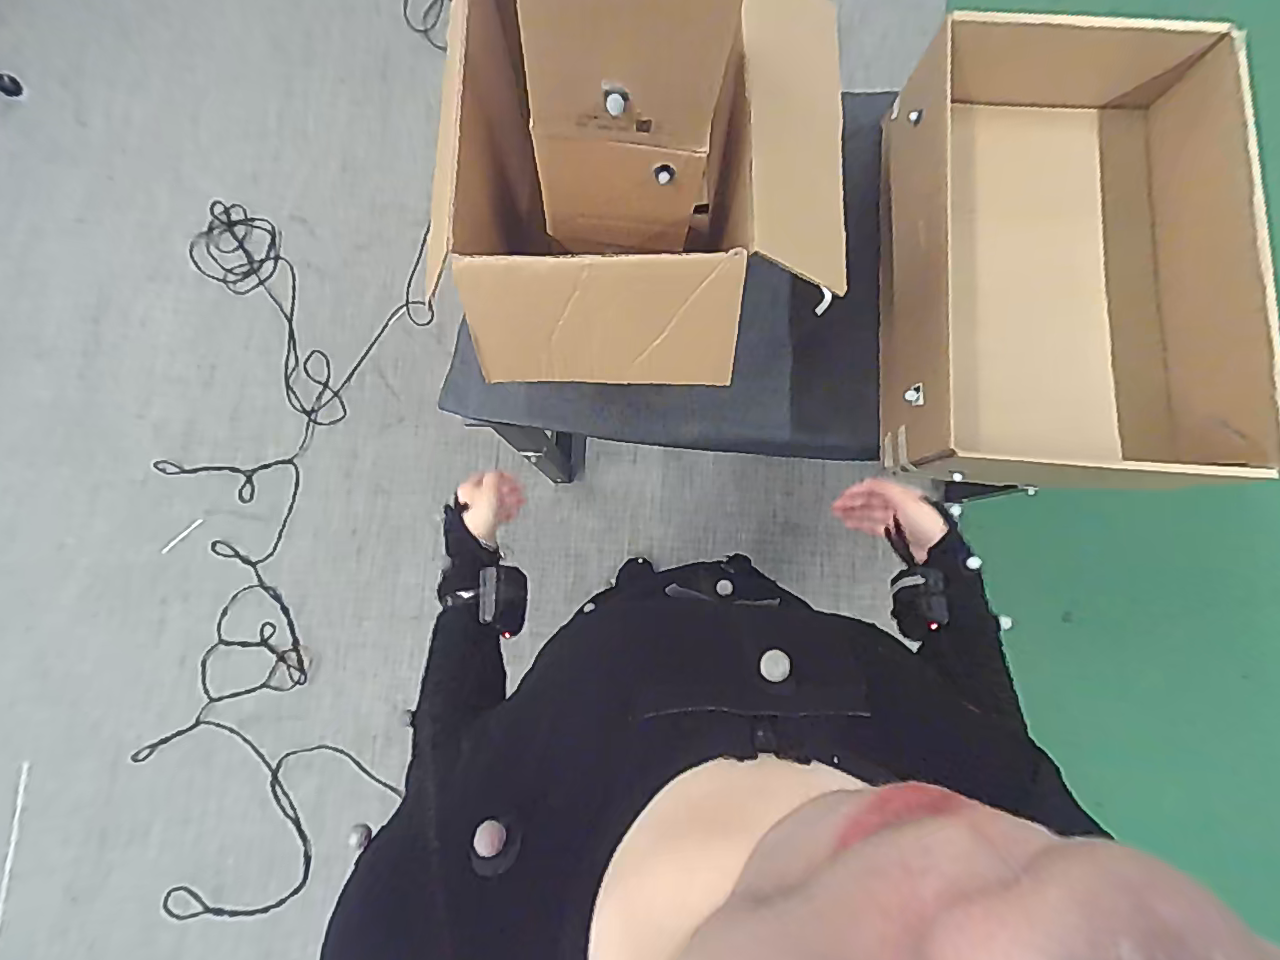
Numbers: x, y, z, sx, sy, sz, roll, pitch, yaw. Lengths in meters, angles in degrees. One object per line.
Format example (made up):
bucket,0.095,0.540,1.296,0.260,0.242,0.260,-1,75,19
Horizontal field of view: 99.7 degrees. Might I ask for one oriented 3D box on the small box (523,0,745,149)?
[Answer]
small box,-0.009,-0.422,0.451,0.168,0.176,0.179,2,81,-4
